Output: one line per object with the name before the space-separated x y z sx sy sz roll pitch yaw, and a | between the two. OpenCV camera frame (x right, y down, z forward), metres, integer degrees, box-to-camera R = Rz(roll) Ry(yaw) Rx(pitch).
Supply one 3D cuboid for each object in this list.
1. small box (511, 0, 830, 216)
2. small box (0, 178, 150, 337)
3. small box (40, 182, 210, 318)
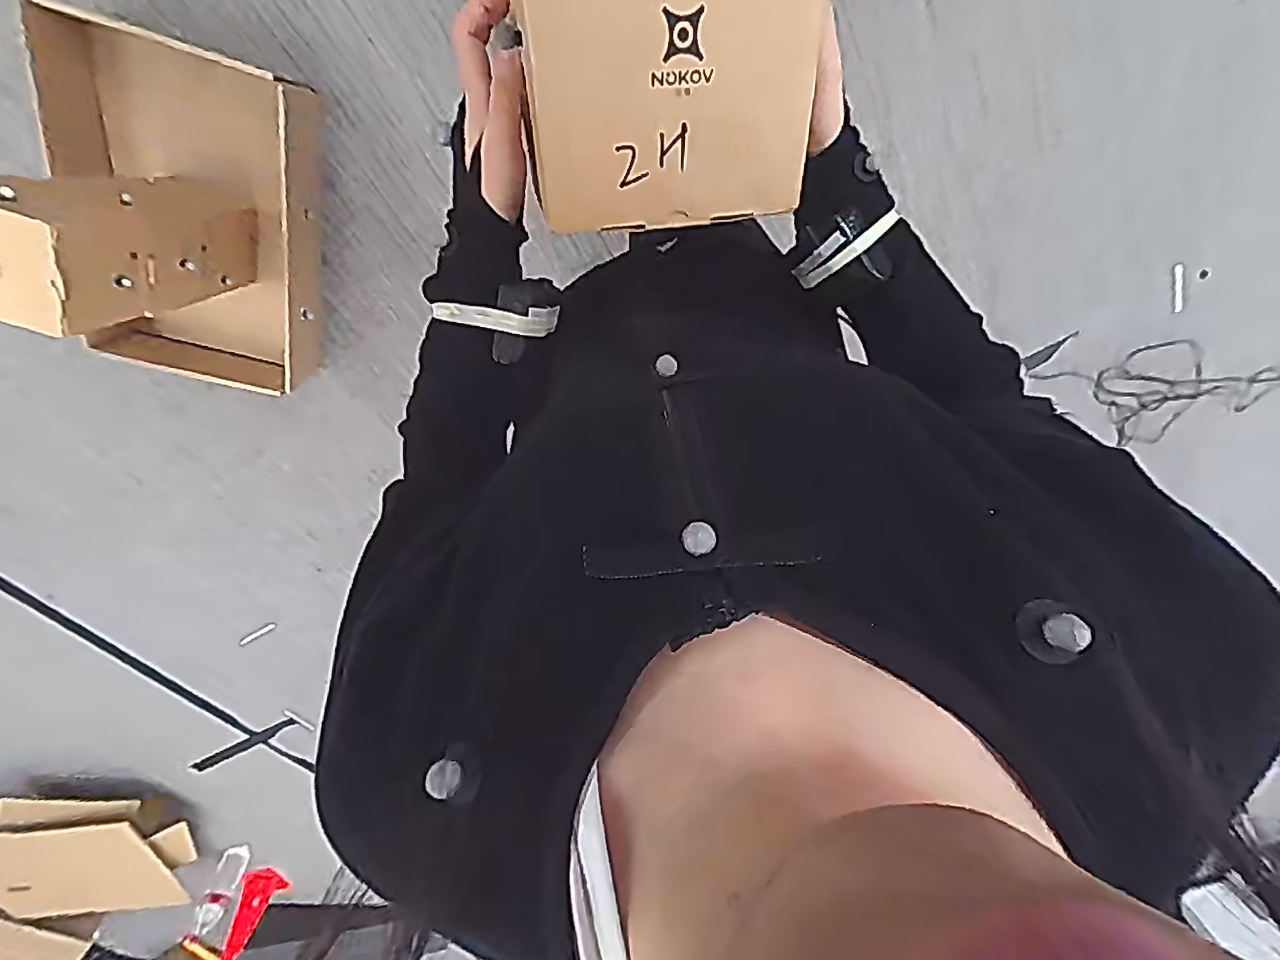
small box | 0.006 -0.289 0.352 0.168 0.176 0.179 -10 129 -9
small box | -0.893 -0.337 0.809 0.179 0.176 0.168 15 117 -13
small box | -0.900 -0.411 0.954 0.179 0.176 0.168 16 117 -14
